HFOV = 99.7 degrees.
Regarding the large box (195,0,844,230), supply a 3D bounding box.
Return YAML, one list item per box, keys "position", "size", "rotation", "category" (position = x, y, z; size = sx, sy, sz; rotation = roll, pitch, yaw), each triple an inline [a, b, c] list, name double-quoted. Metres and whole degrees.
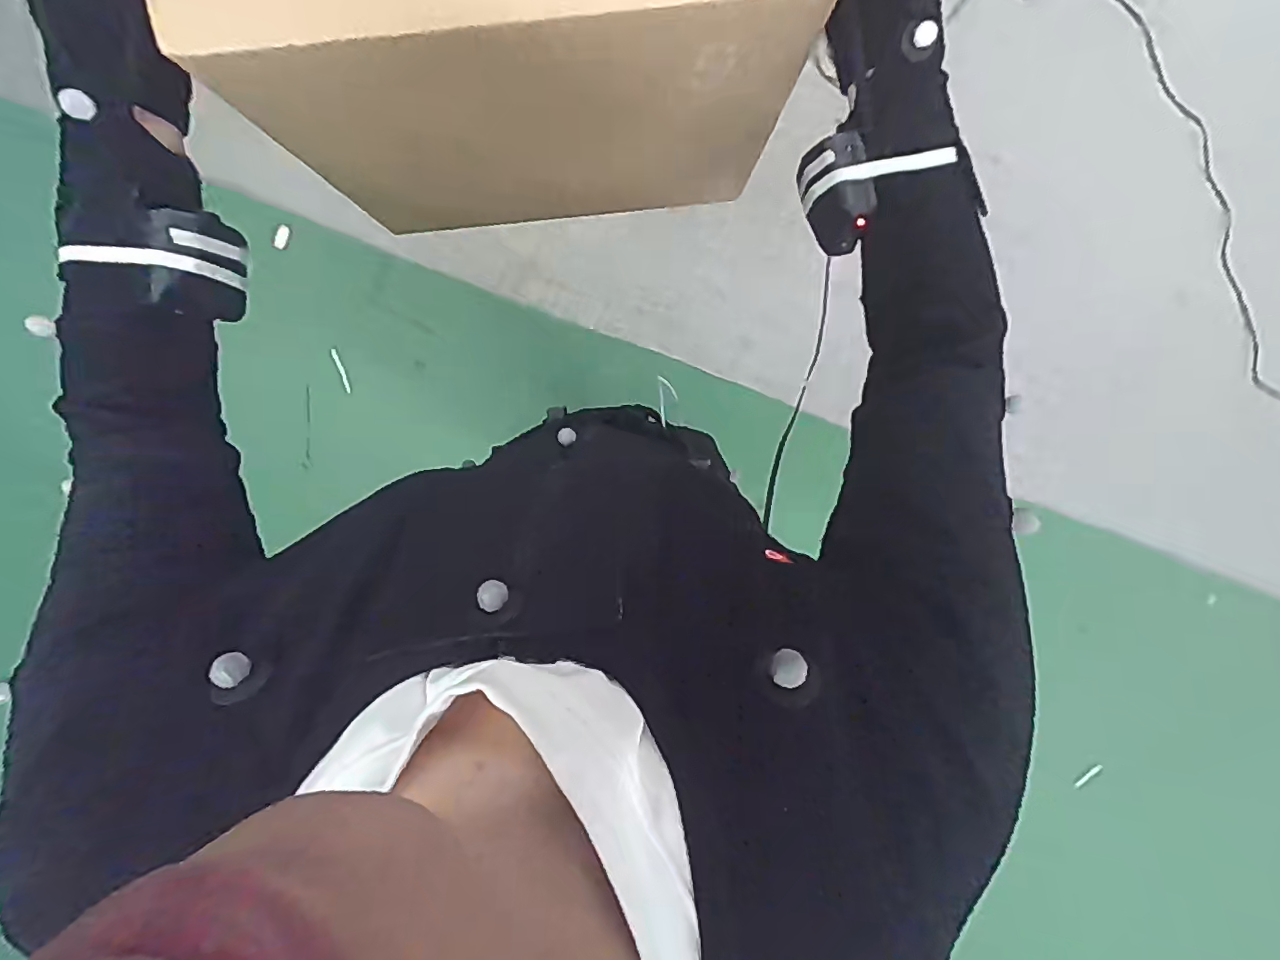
- position: [-0.087, -0.441, 0.461]
  size: [0.408, 0.320, 0.320]
  rotation: [-6, 97, -2]
  category: "large box"
